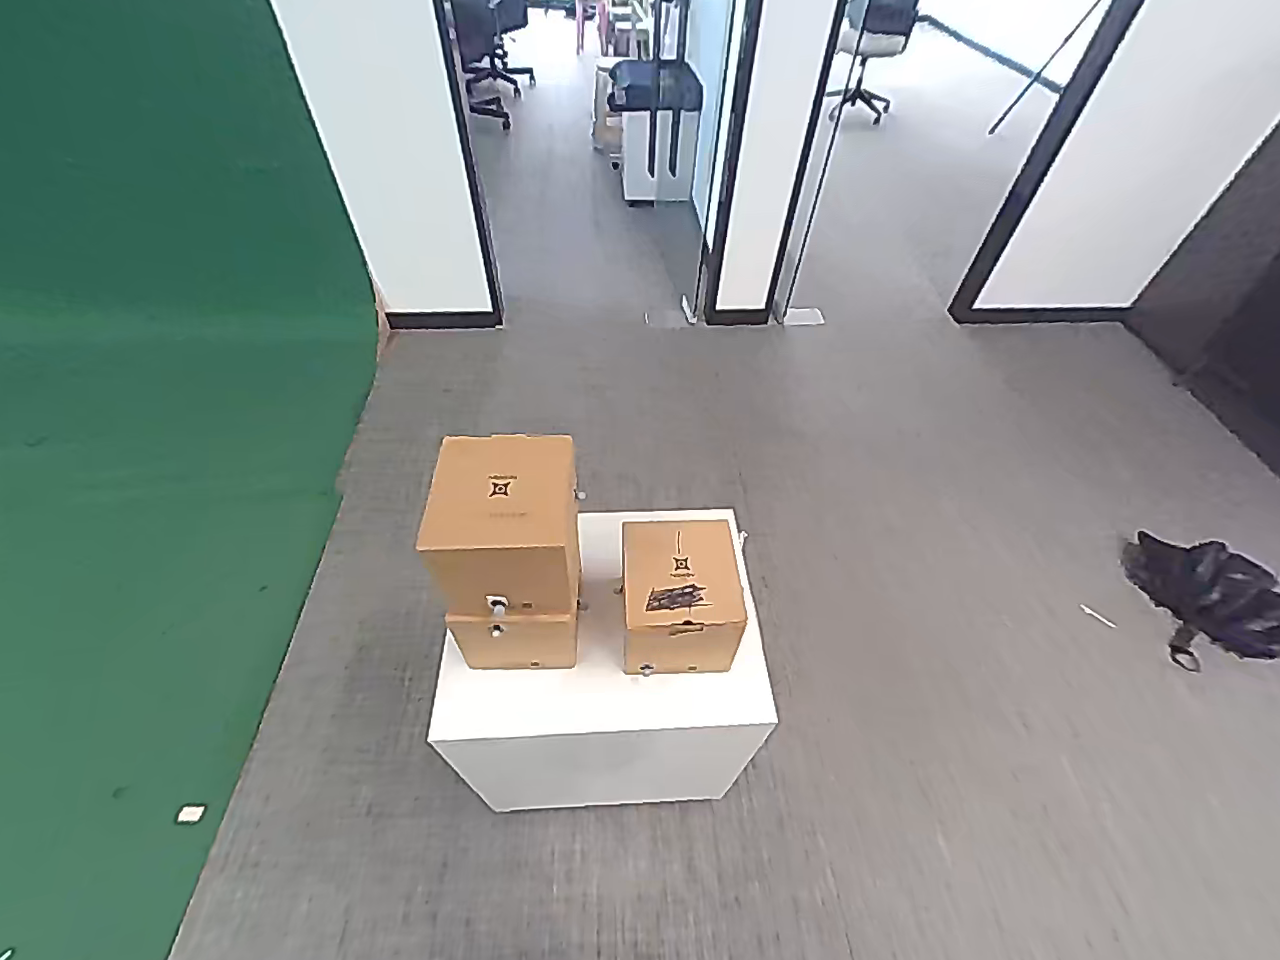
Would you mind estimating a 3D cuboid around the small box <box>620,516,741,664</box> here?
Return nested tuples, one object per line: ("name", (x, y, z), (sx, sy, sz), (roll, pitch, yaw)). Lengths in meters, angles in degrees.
("small box", (0.053, 0.175, 0.839), (0.168, 0.176, 0.179), (-1, 49, -3))

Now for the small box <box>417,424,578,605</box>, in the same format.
("small box", (-0.170, 0.045, 0.706), (0.168, 0.176, 0.179), (-1, 51, -4))

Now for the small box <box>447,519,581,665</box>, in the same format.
("small box", (-0.181, 0.166, 0.836), (0.168, 0.176, 0.179), (0, 49, -1))
